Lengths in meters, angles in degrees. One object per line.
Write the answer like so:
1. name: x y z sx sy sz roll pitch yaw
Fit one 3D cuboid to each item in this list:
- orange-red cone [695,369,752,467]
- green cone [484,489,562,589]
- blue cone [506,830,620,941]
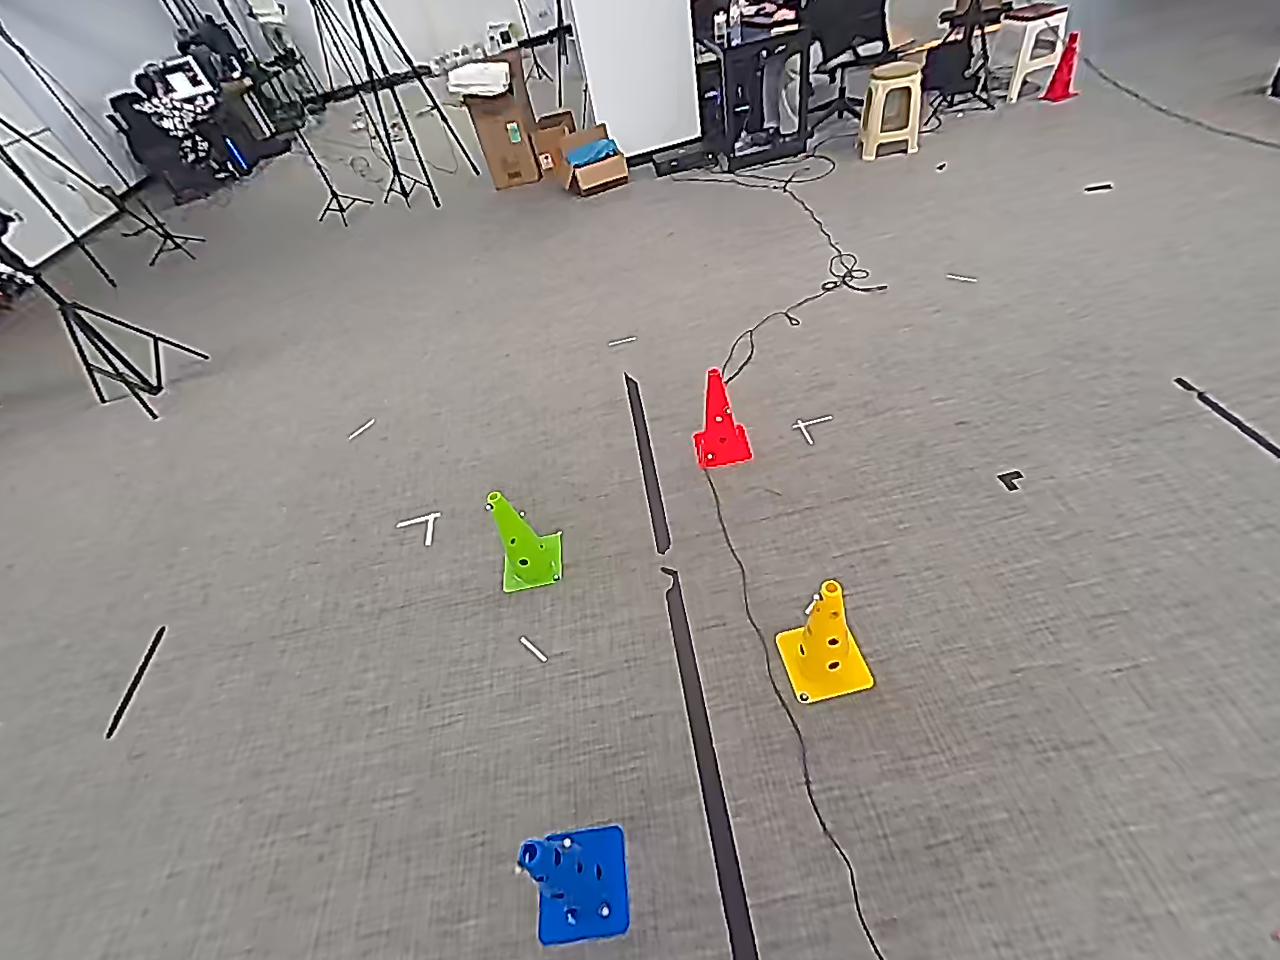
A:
1. orange-red cone: 0.282 -0.243 1.921 0.199 0.360 0.198 -9 47 5
2. green cone: -0.398 0.156 1.718 0.202 0.368 0.200 -13 46 4
3. blue cone: -0.172 0.784 1.086 0.192 0.380 0.193 -11 45 6
